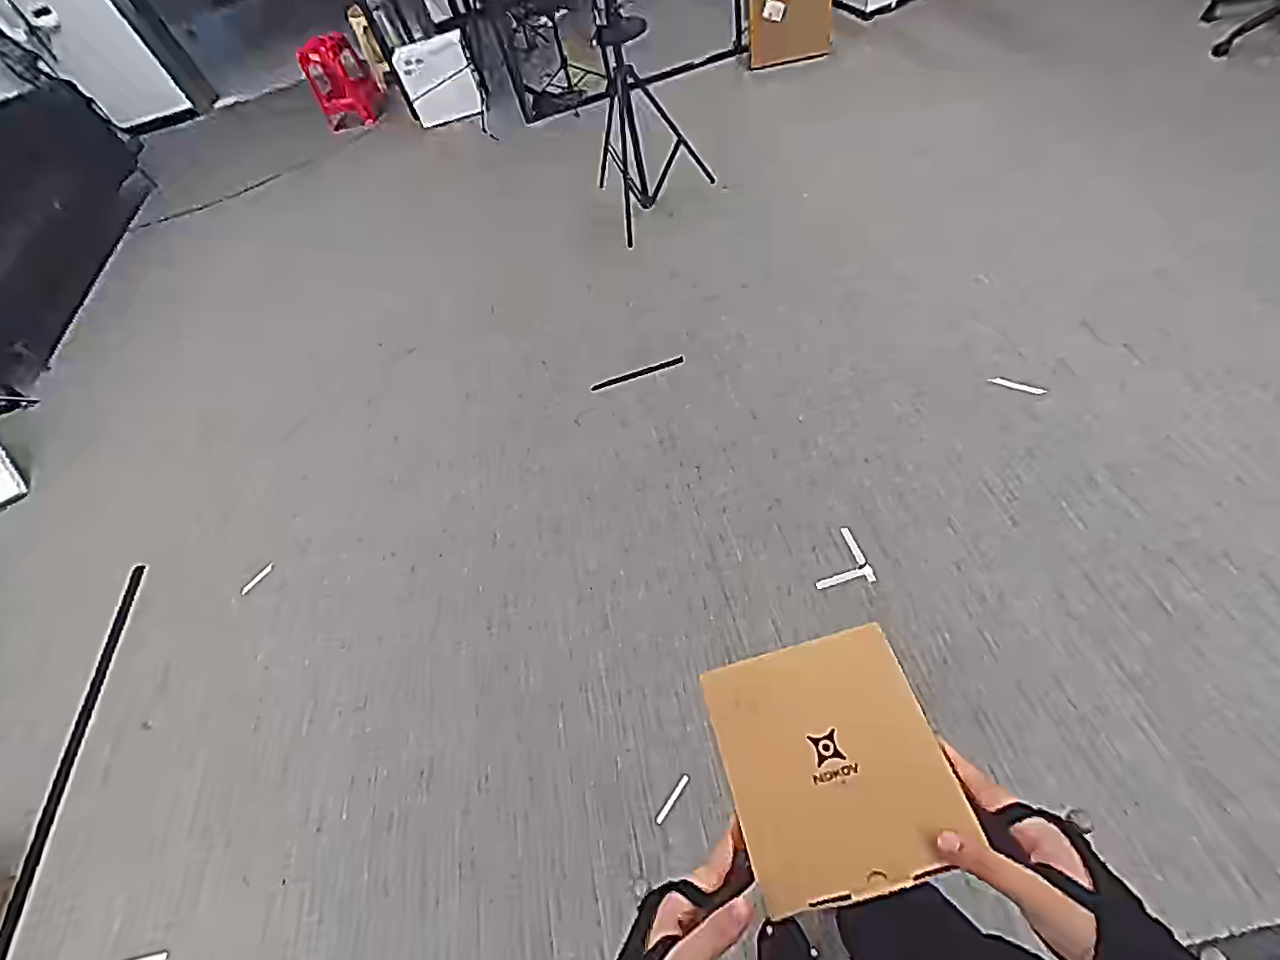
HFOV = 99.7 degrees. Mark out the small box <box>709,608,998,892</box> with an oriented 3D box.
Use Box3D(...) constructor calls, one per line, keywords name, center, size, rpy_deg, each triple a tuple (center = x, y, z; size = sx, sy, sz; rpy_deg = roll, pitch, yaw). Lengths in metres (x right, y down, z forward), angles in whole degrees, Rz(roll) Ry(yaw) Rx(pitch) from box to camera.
Box3D(name="small box", center=(0.169, 0.245, 0.491), size=(0.168, 0.176, 0.179), rpy_deg=(-17, 55, 2))
